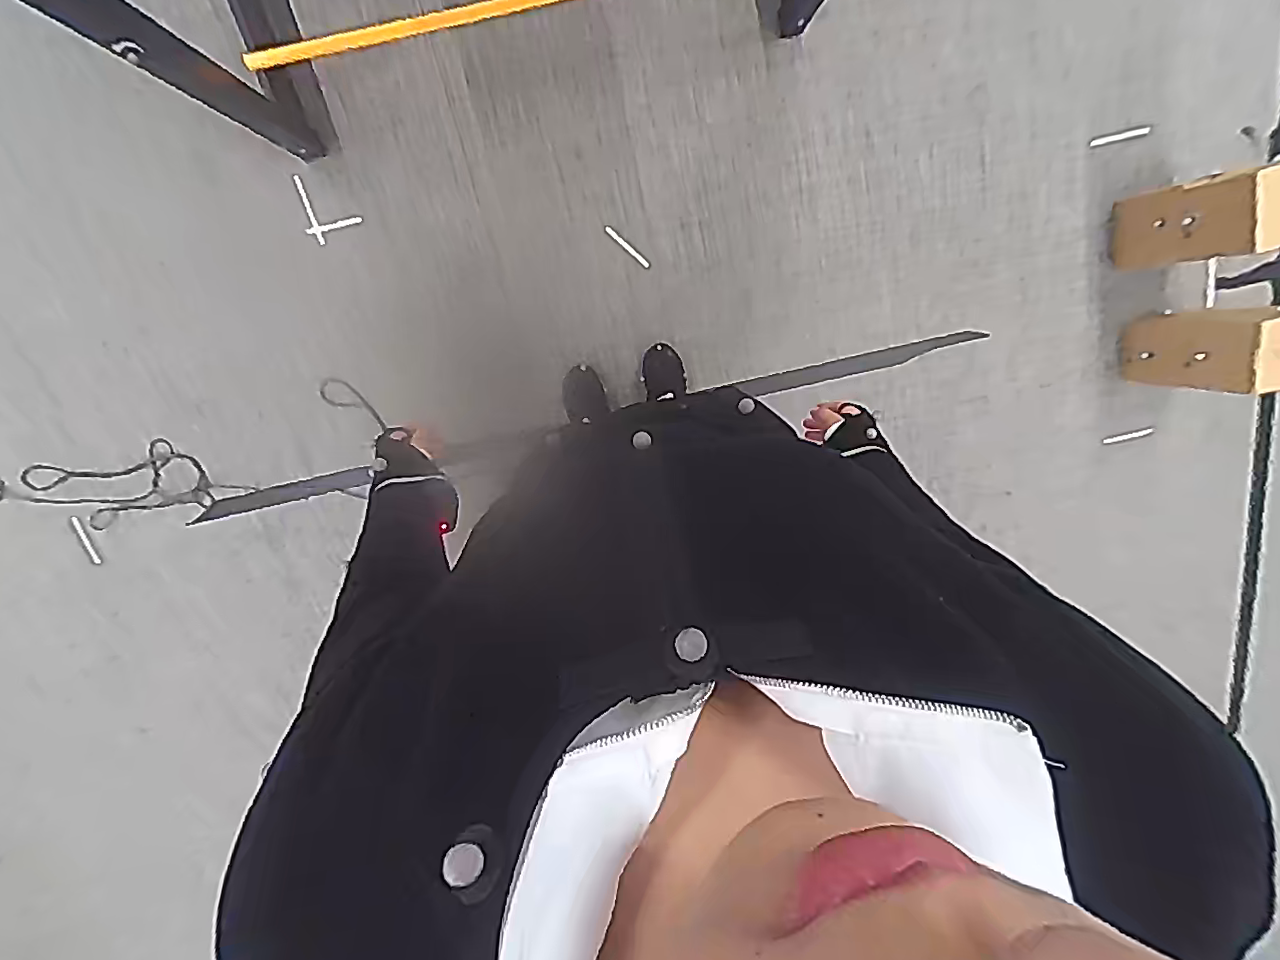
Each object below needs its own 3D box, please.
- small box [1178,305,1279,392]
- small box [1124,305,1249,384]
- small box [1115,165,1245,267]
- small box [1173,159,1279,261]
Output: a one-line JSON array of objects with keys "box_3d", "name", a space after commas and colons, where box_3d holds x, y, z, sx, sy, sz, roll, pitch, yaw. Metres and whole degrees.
[{"box_3d": [1.441, -0.314, 1.273, 0.179, 0.176, 0.168, -12, 106, 0], "name": "small box"}, {"box_3d": [1.437, -0.358, 1.434, 0.179, 0.176, 0.168, -14, 106, 1], "name": "small box"}, {"box_3d": [1.329, -0.646, 1.342, 0.168, 0.176, 0.179, -16, 107, 1], "name": "small box"}, {"box_3d": [1.338, -0.597, 1.187, 0.179, 0.176, 0.168, -17, 105, 2], "name": "small box"}]
